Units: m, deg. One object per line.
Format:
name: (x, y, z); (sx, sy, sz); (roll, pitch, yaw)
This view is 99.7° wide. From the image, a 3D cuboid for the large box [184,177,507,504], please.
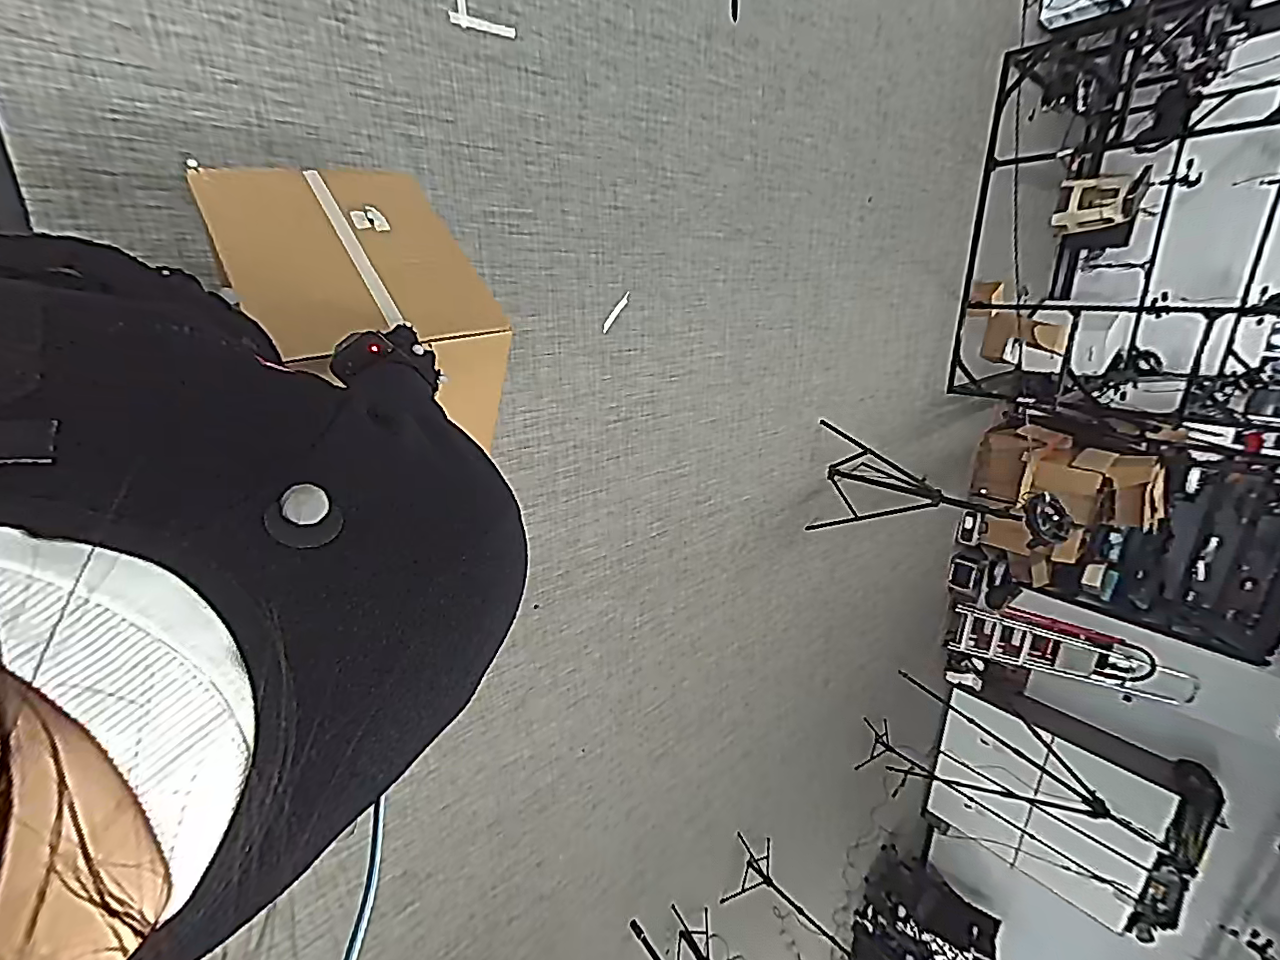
large box: (-0.467, -0.236, 0.895); (0.320, 0.408, 0.320); (-21, 154, -35)
